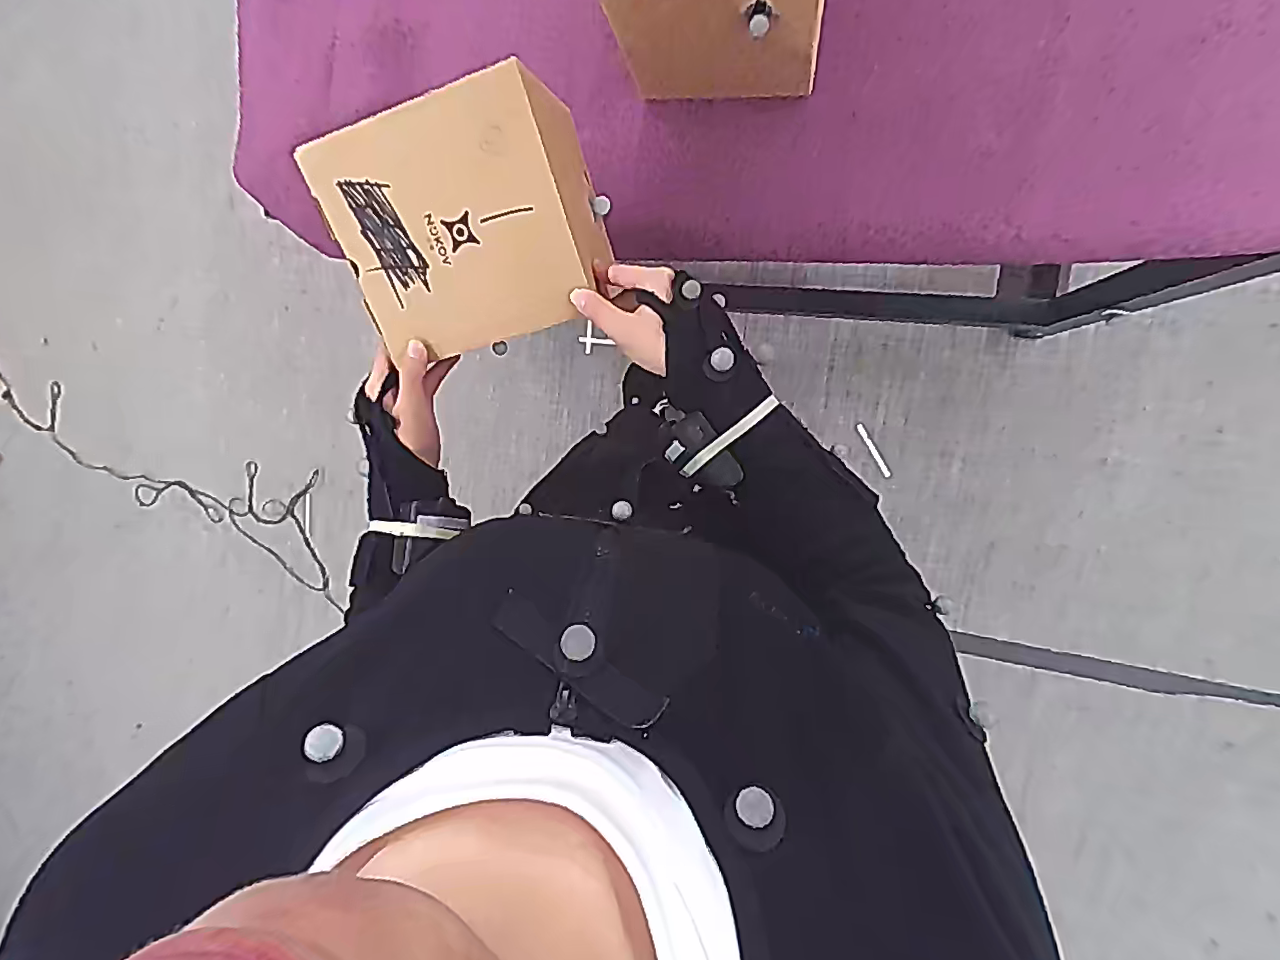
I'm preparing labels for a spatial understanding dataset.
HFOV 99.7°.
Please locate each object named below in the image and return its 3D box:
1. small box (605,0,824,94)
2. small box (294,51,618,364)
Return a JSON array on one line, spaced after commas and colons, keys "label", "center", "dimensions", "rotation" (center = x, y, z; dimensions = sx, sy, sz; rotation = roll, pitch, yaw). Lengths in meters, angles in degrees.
[{"label": "small box", "center": [0.076, -0.465, 0.463], "dimensions": [0.179, 0.176, 0.168], "rotation": [8, 98, 13]}, {"label": "small box", "center": [-0.129, -0.212, 0.457], "dimensions": [0.179, 0.176, 0.168], "rotation": [-14, 112, 10]}]
